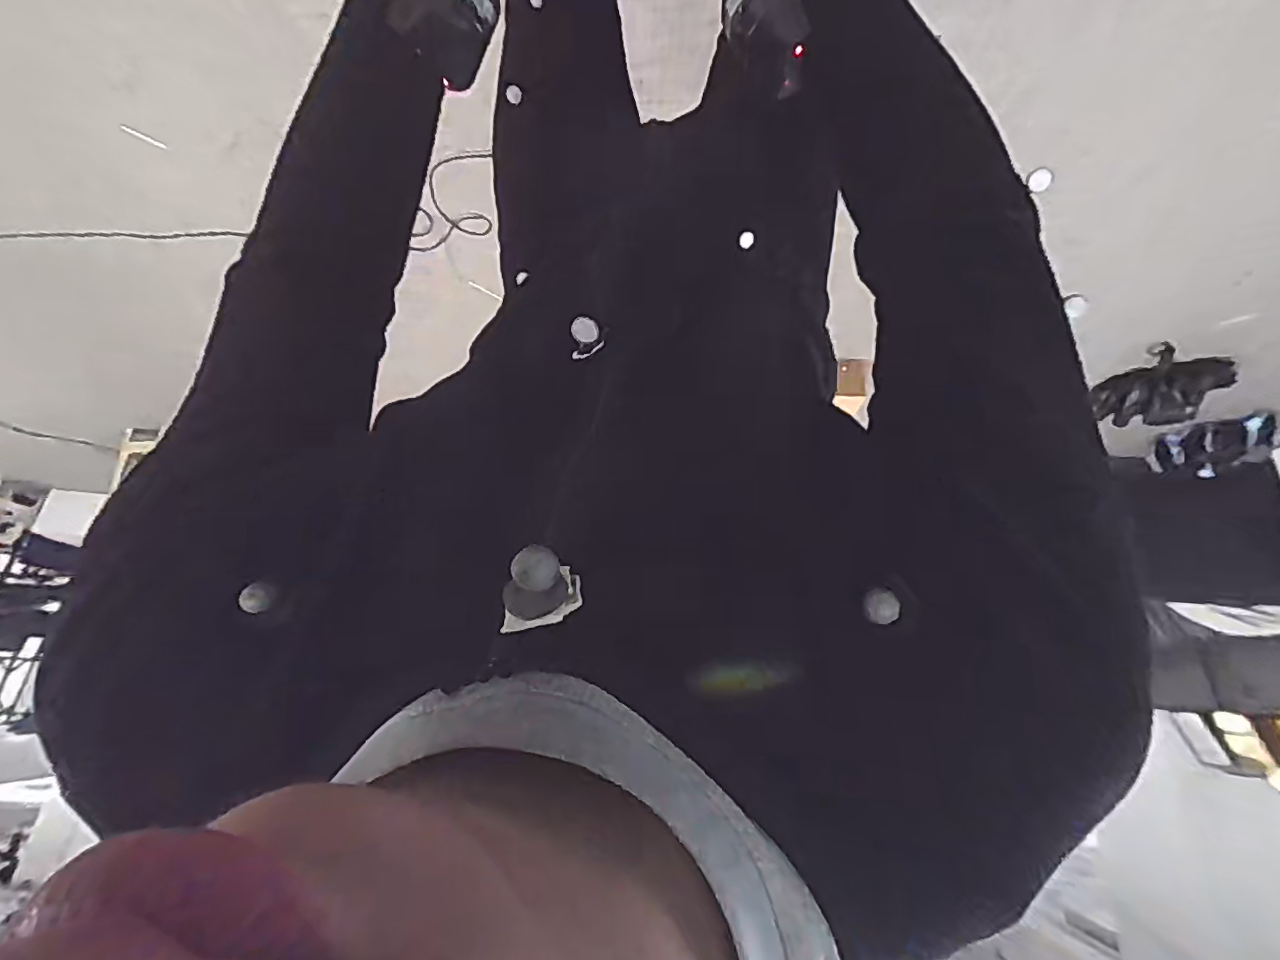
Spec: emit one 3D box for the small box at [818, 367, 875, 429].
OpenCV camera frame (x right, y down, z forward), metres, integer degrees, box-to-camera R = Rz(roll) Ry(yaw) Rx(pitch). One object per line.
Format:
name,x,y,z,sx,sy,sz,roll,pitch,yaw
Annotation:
small box,0.785,-0.313,2.071,0.168,0.176,0.179,3,157,4
